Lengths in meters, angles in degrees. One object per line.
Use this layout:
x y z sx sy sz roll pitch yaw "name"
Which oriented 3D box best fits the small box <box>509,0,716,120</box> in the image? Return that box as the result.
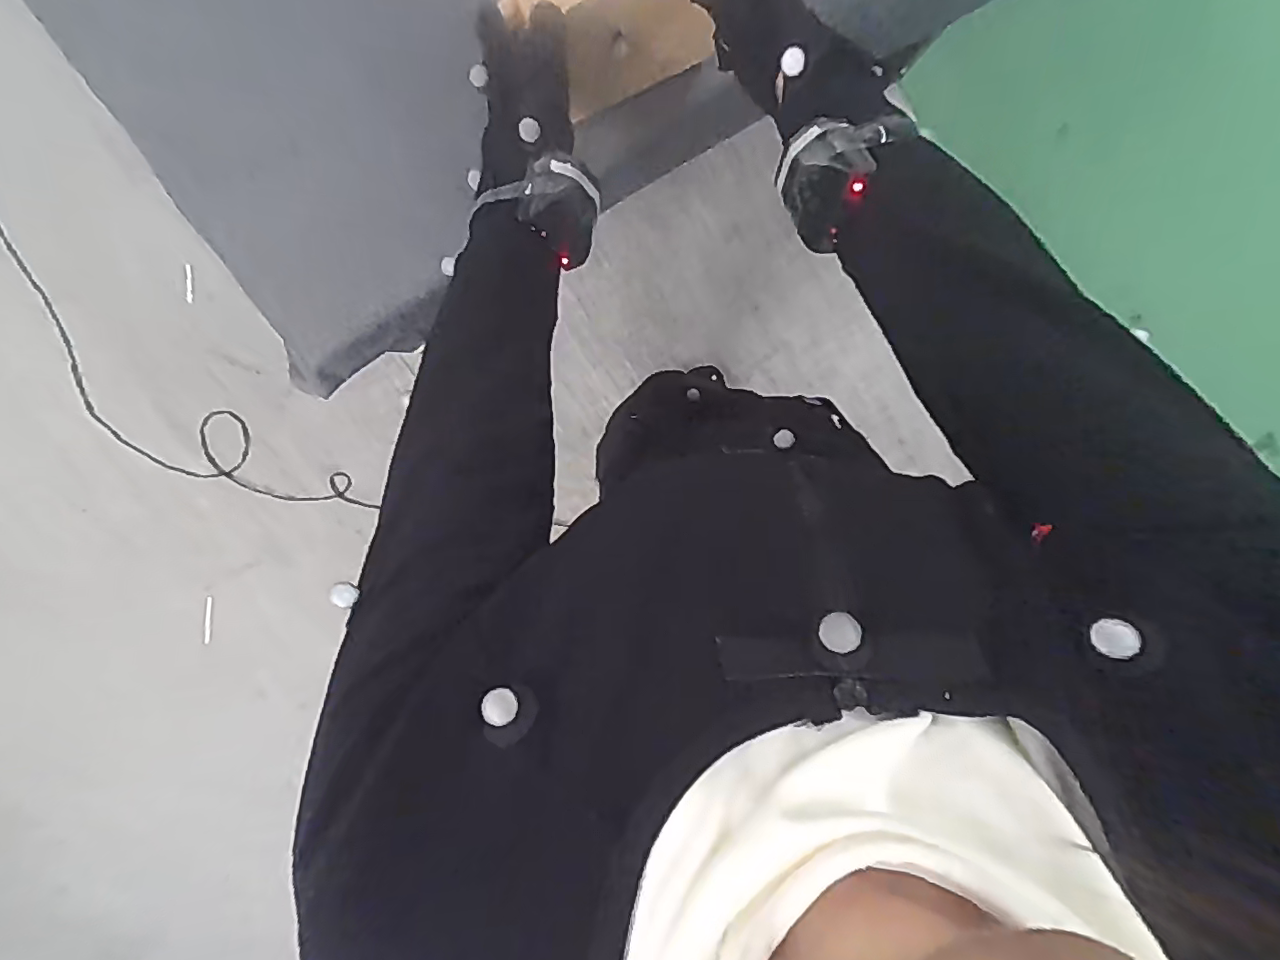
-0.036 -0.475 0.489 0.179 0.176 0.168 -22 97 8 "small box"
